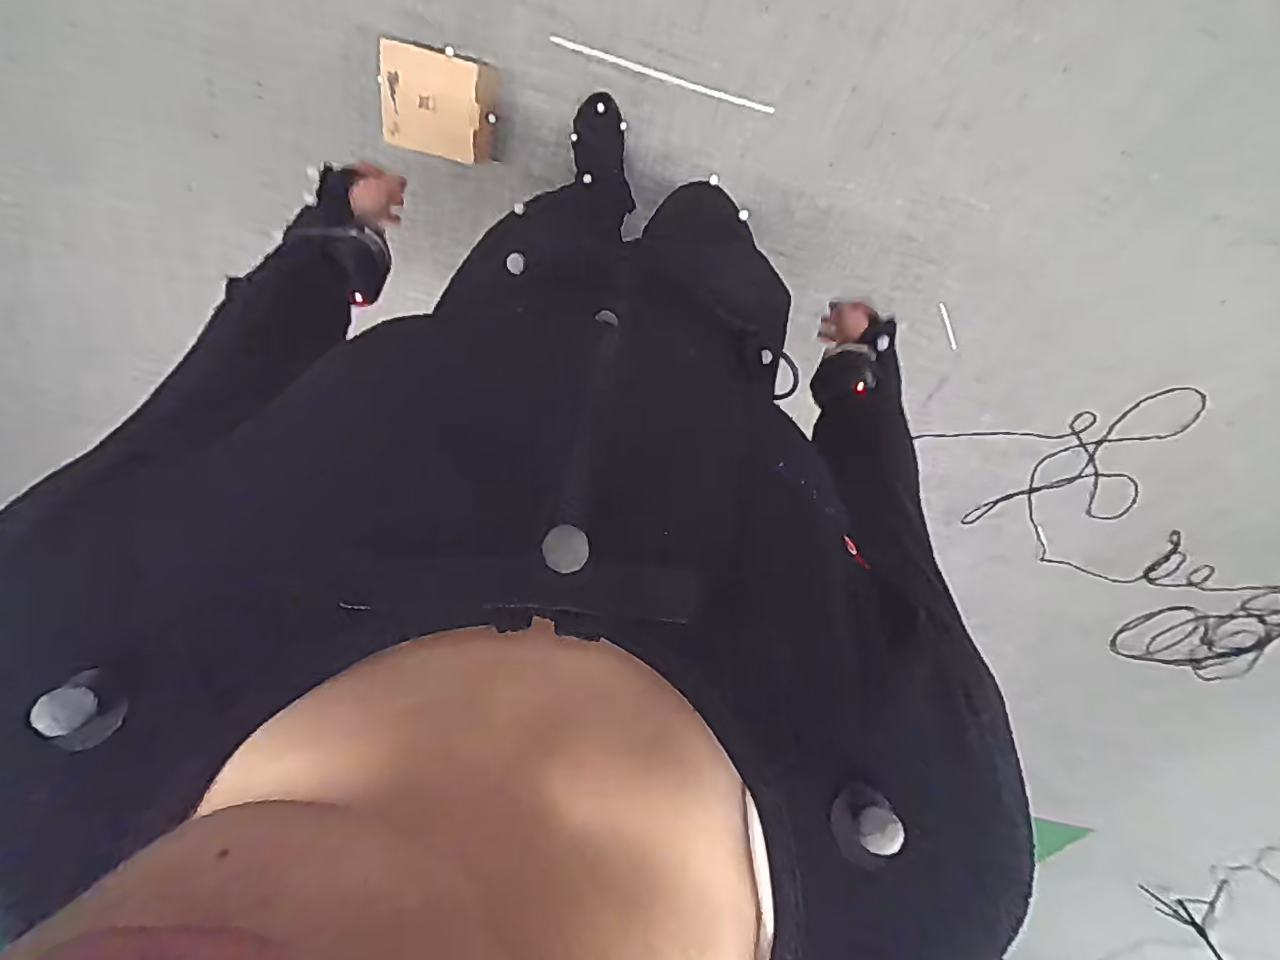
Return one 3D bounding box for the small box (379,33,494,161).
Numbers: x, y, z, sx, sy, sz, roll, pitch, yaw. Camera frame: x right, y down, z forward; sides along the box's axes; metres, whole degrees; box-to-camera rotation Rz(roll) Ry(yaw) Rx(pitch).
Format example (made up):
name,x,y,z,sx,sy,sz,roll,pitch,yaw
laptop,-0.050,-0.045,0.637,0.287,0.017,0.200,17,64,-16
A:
name,x,y,z,sx,sy,sz,roll,pitch,yaw
small box,-0.397,-0.759,1.078,0.179,0.176,0.168,11,124,-7
